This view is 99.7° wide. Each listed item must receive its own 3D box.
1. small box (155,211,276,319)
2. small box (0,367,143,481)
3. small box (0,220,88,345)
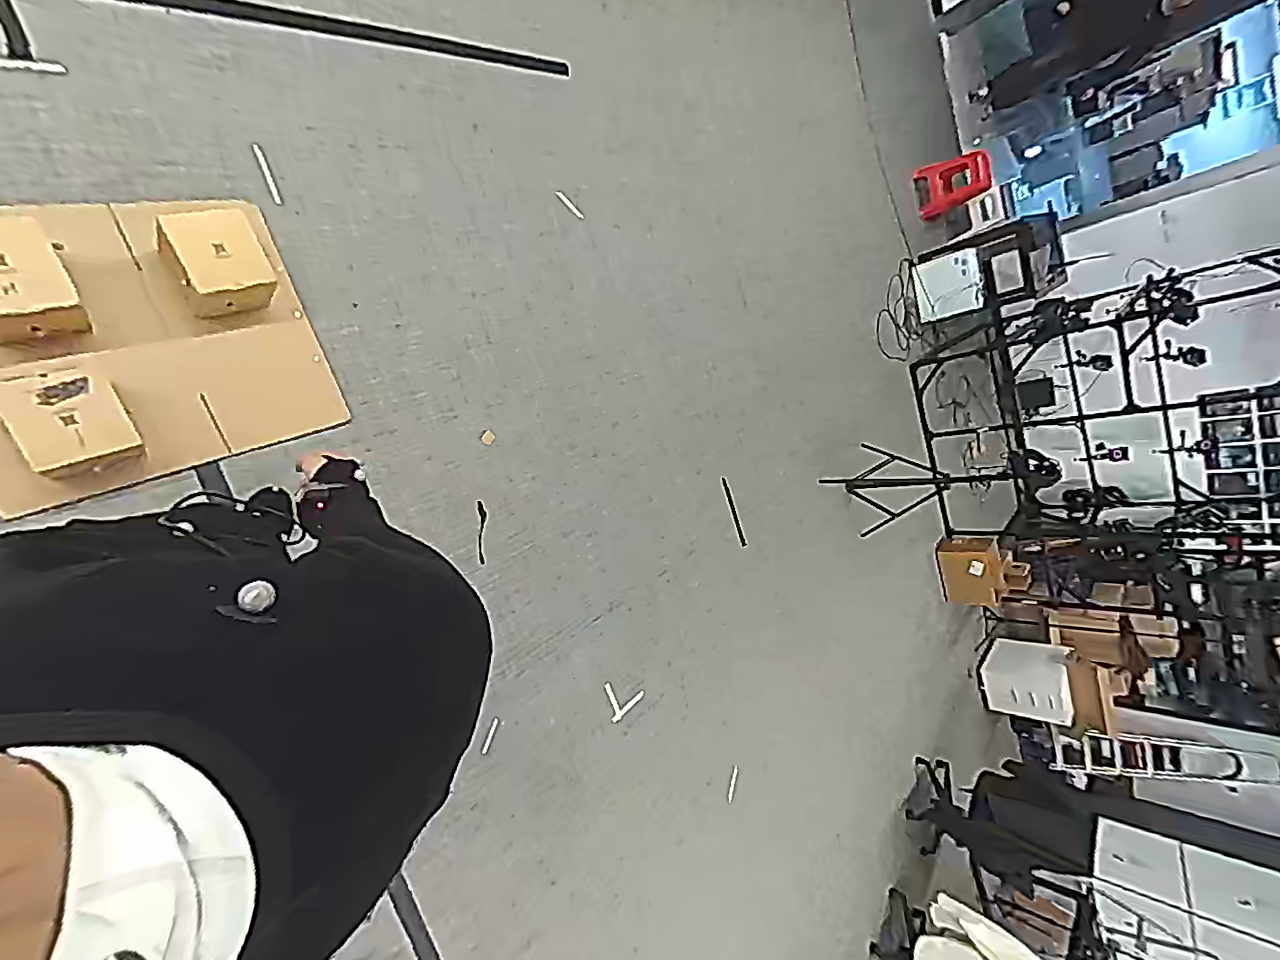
[{"bbox_3d":[-1.004,-0.504,1.278,0.168,0.176,0.179,-33,107,-38],"label":"small box"},{"bbox_3d":[-1.154,-0.110,1.098,0.168,0.176,0.179,-30,106,-38],"label":"small box"},{"bbox_3d":[-1.234,-0.381,1.054,0.168,0.176,0.179,-29,105,-39],"label":"small box"}]
